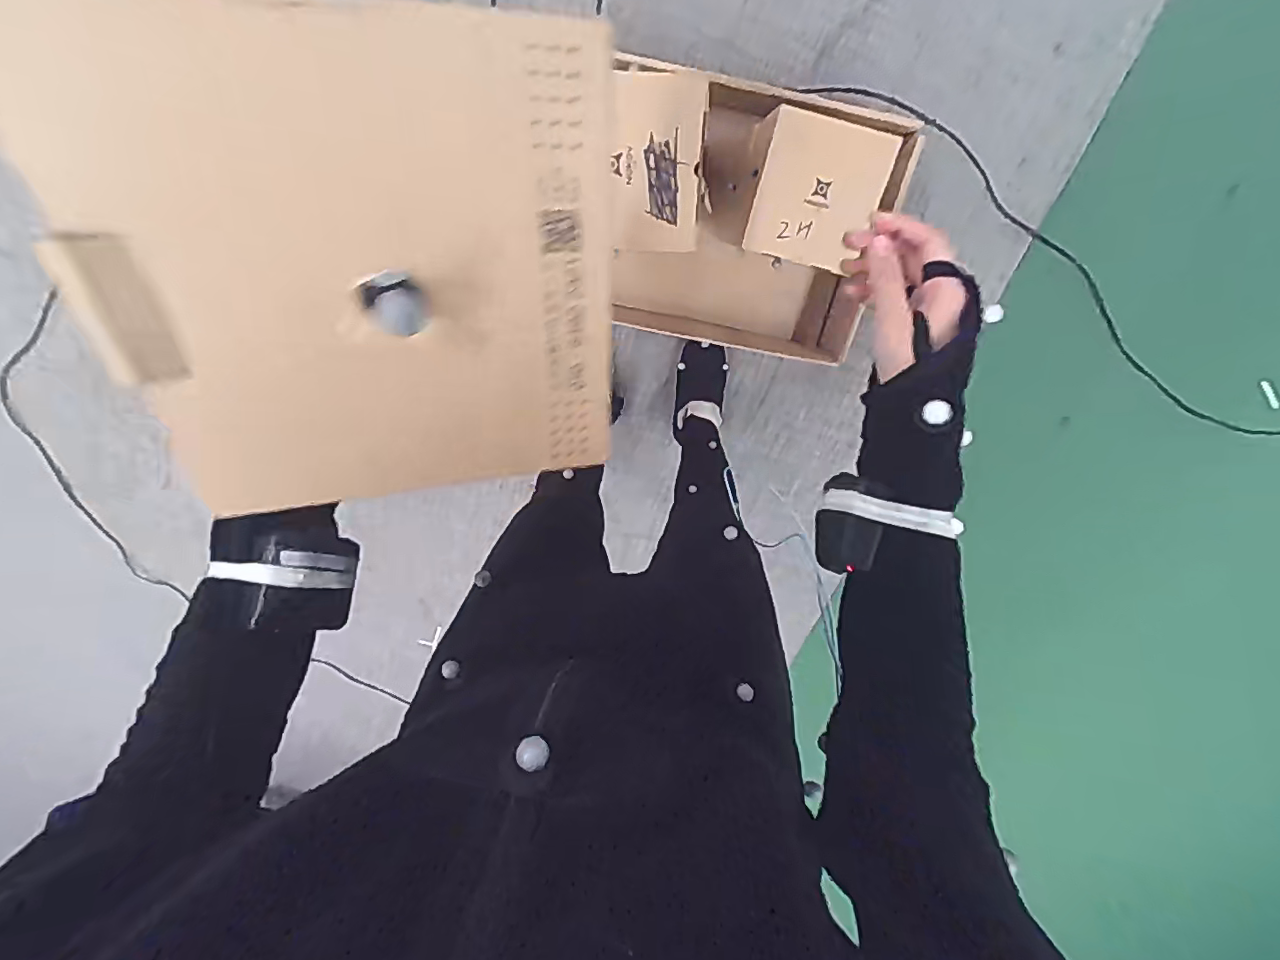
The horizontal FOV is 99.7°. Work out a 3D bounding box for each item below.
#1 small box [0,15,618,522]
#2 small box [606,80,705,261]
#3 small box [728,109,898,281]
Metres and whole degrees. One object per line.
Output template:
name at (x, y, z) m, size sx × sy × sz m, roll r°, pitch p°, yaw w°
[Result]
small box at (-0.113, -0.108, 0.262) m, size 0.176 × 0.179 × 0.168 m, roll -9°, pitch 127°, yaw -17°
small box at (-0.025, -0.360, 0.642) m, size 0.179 × 0.176 × 0.168 m, roll 2°, pitch 117°, yaw -1°
small box at (0.236, -0.408, 0.792) m, size 0.168 × 0.176 × 0.179 m, roll 13°, pitch 116°, yaw -4°
